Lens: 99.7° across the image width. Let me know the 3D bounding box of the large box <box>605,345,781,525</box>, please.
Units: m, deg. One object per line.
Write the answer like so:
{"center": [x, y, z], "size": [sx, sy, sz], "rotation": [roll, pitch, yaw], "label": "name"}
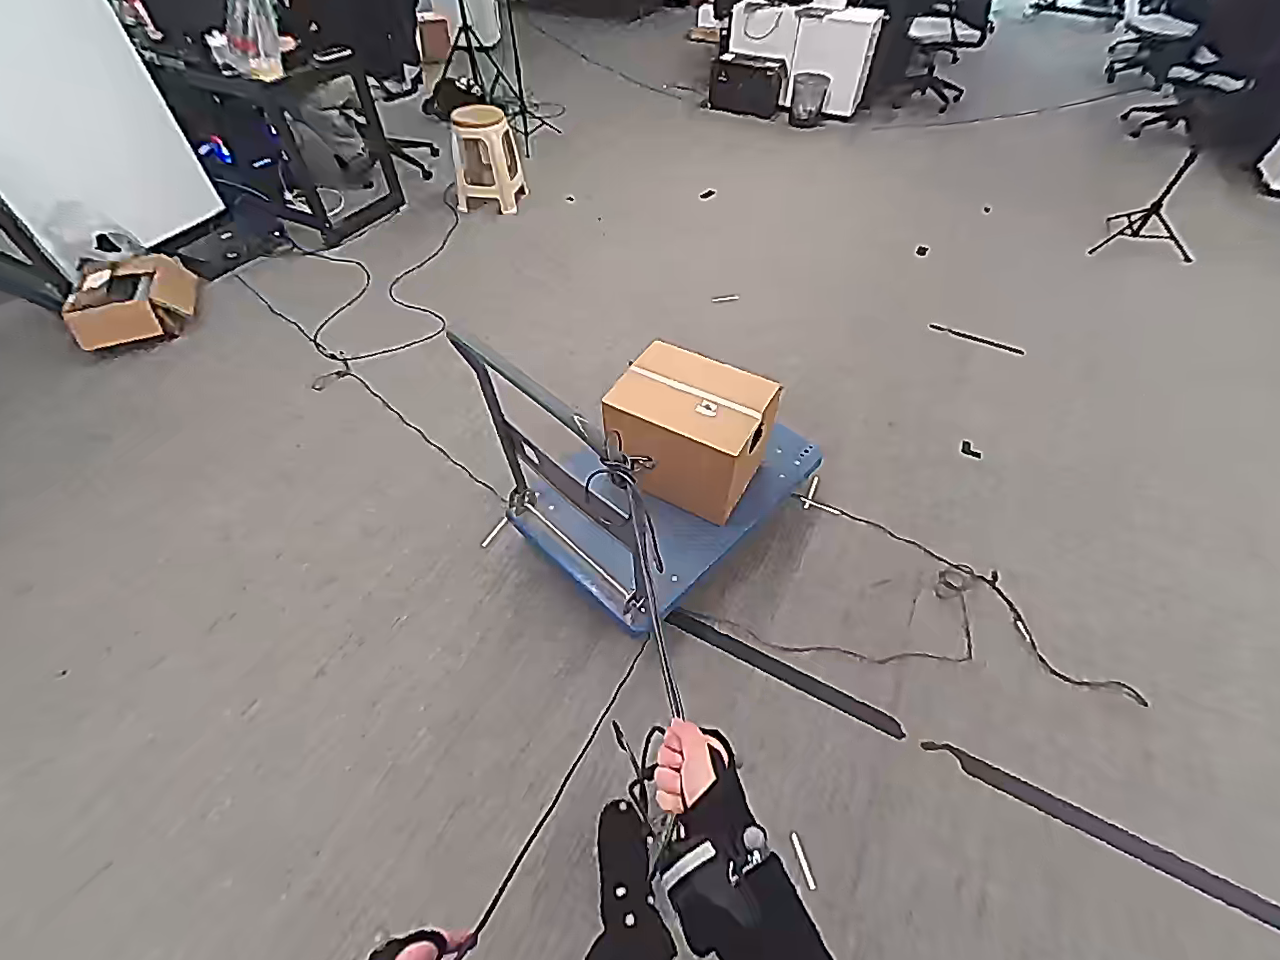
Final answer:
{"center": [0.144, -0.135, 1.592], "size": [0.408, 0.320, 0.320], "rotation": [25, 56, 18], "label": "large box"}
